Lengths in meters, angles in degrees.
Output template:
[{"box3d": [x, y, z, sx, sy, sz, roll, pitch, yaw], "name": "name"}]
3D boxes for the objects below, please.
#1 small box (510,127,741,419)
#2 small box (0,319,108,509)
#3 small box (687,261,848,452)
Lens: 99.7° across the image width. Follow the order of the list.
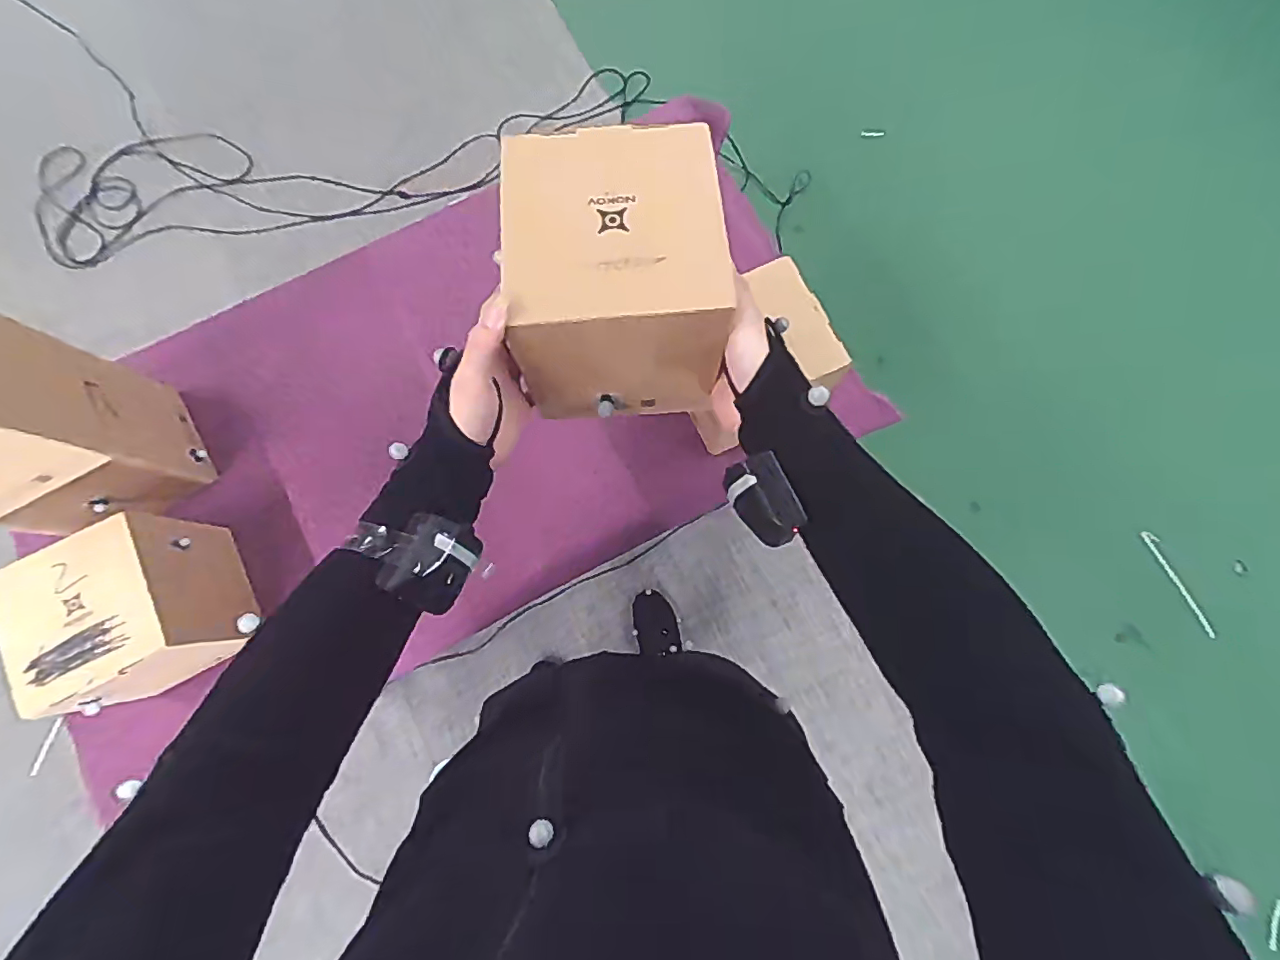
[{"box3d": [-0.015, -0.170, 0.479, 0.168, 0.176, 0.179, -4, 73, -1], "name": "small box"}, {"box3d": [-0.729, -0.075, 0.566, 0.168, 0.176, 0.179, -30, 79, -6], "name": "small box"}, {"box3d": [0.146, -0.160, 0.748, 0.179, 0.176, 0.168, -24, 78, -5], "name": "small box"}]
